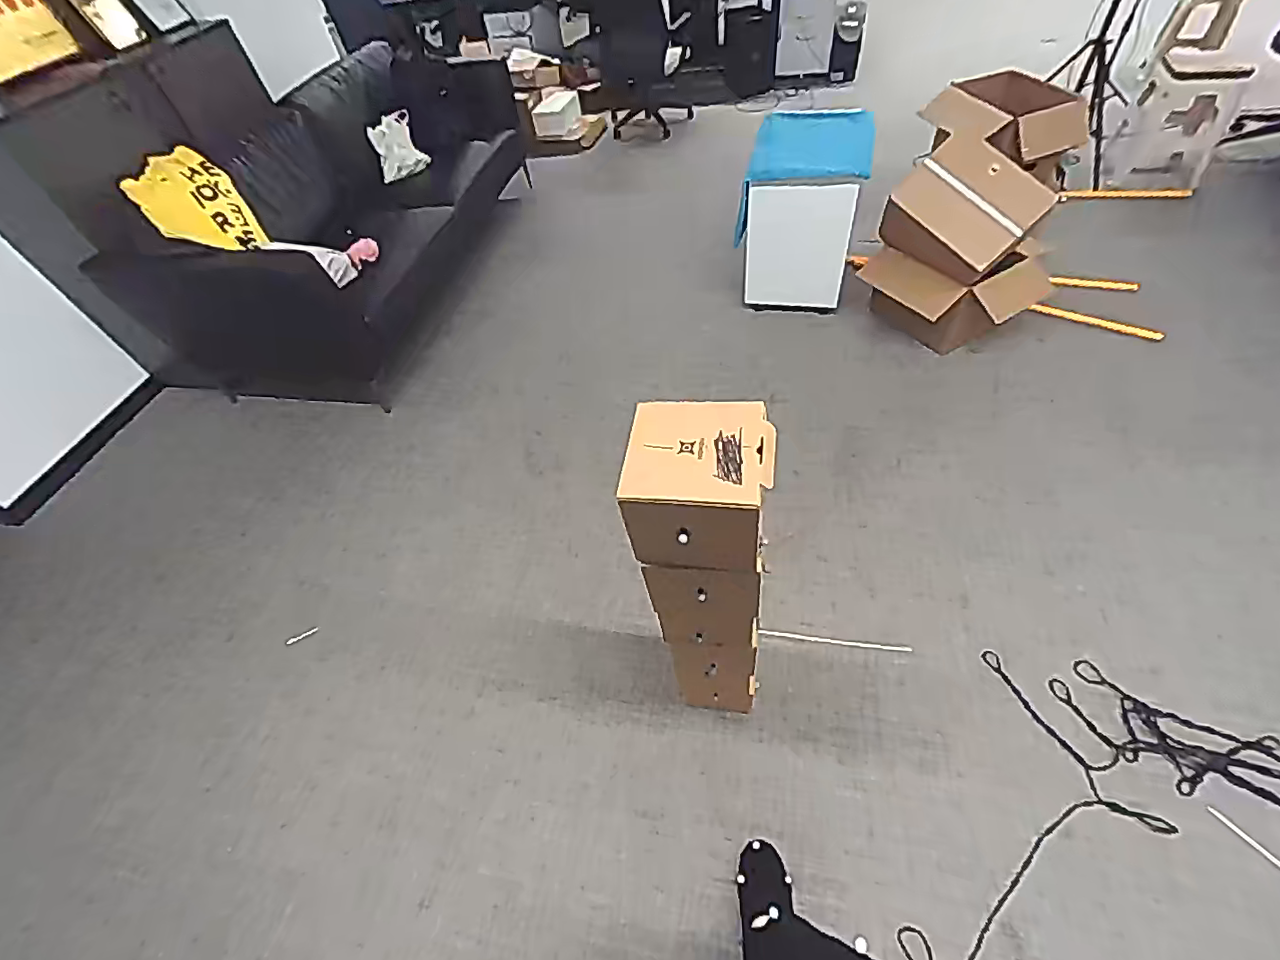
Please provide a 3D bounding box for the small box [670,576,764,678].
[{"bbox_3d":[0.165,0.305,1.136,0.179,0.176,0.168,2,52,11],"label":"small box"}]

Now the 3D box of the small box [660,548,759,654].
[{"bbox_3d":[0.136,0.206,1.010,0.168,0.176,0.179,1,53,12],"label":"small box"}]

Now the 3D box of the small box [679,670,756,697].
[{"bbox_3d":[0.186,0.395,1.271,0.179,0.176,0.168,3,53,13],"label":"small box"}]

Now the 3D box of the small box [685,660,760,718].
[{"bbox_3d":[0.219,0.499,1.394,0.179,0.176,0.168,3,52,12],"label":"small box"}]

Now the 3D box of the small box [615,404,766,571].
[{"bbox_3d":[0.081,0.013,0.750,0.179,0.176,0.168,2,53,14],"label":"small box"}]
